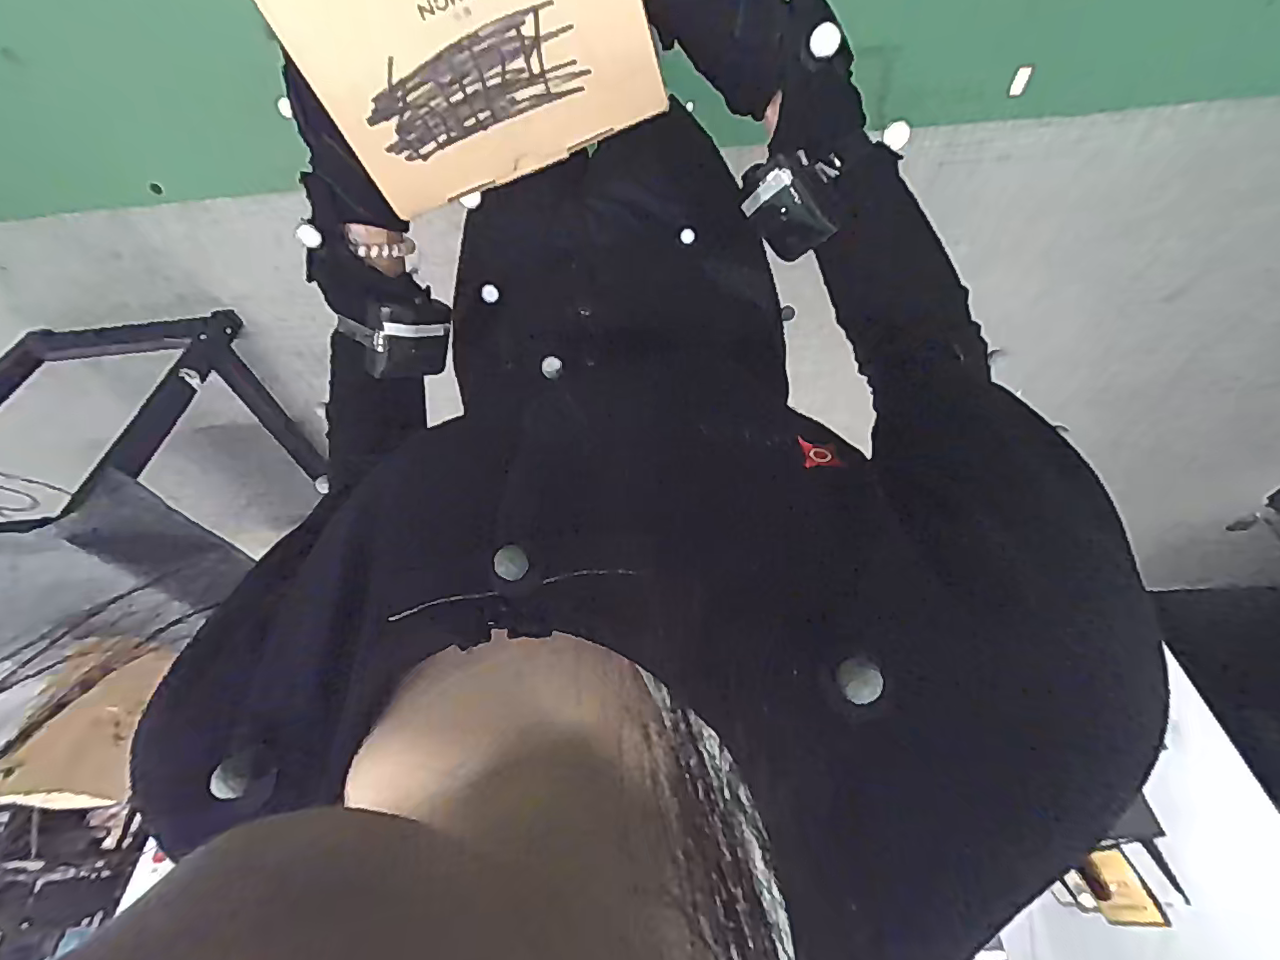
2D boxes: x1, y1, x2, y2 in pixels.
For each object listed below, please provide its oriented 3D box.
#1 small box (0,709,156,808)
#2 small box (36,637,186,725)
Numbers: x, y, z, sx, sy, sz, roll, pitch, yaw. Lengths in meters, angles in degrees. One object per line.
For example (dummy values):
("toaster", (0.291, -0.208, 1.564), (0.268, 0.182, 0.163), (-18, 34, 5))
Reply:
("small box", (-1.271, 0.629, 1.224), (0.179, 0.176, 0.168), (-7, 142, 4))
("small box", (-1.264, 0.492, 1.316), (0.179, 0.176, 0.168), (-5, 141, 4))
